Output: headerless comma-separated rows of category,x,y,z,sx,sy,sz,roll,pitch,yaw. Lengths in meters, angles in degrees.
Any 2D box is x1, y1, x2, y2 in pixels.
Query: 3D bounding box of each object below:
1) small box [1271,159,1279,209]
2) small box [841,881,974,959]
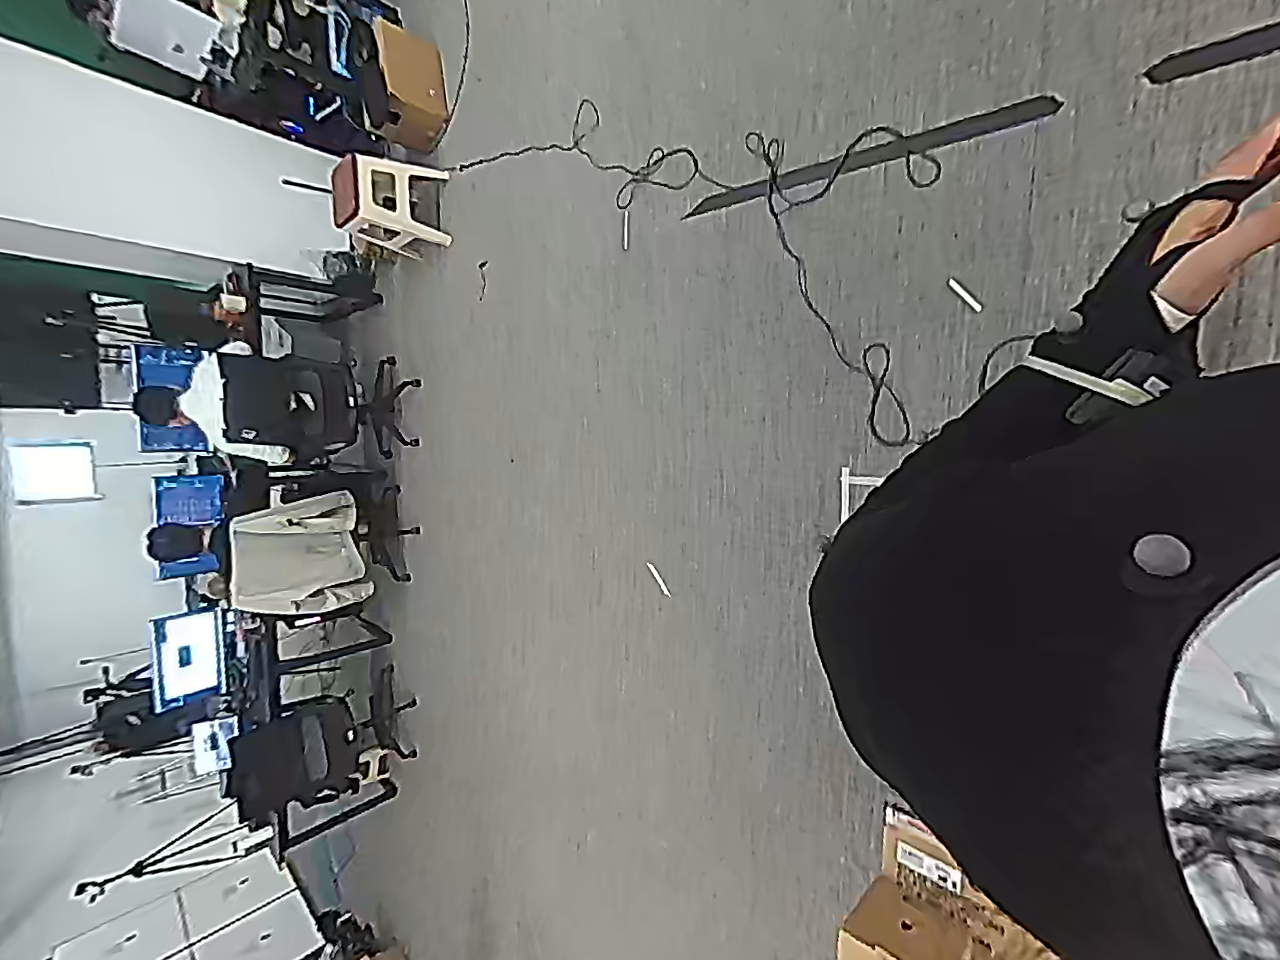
small box,0.474,-0.246,0.274,0.168,0.176,0.179,16,112,41
small box,0.460,0.855,0.934,0.168,0.176,0.179,7,96,46
